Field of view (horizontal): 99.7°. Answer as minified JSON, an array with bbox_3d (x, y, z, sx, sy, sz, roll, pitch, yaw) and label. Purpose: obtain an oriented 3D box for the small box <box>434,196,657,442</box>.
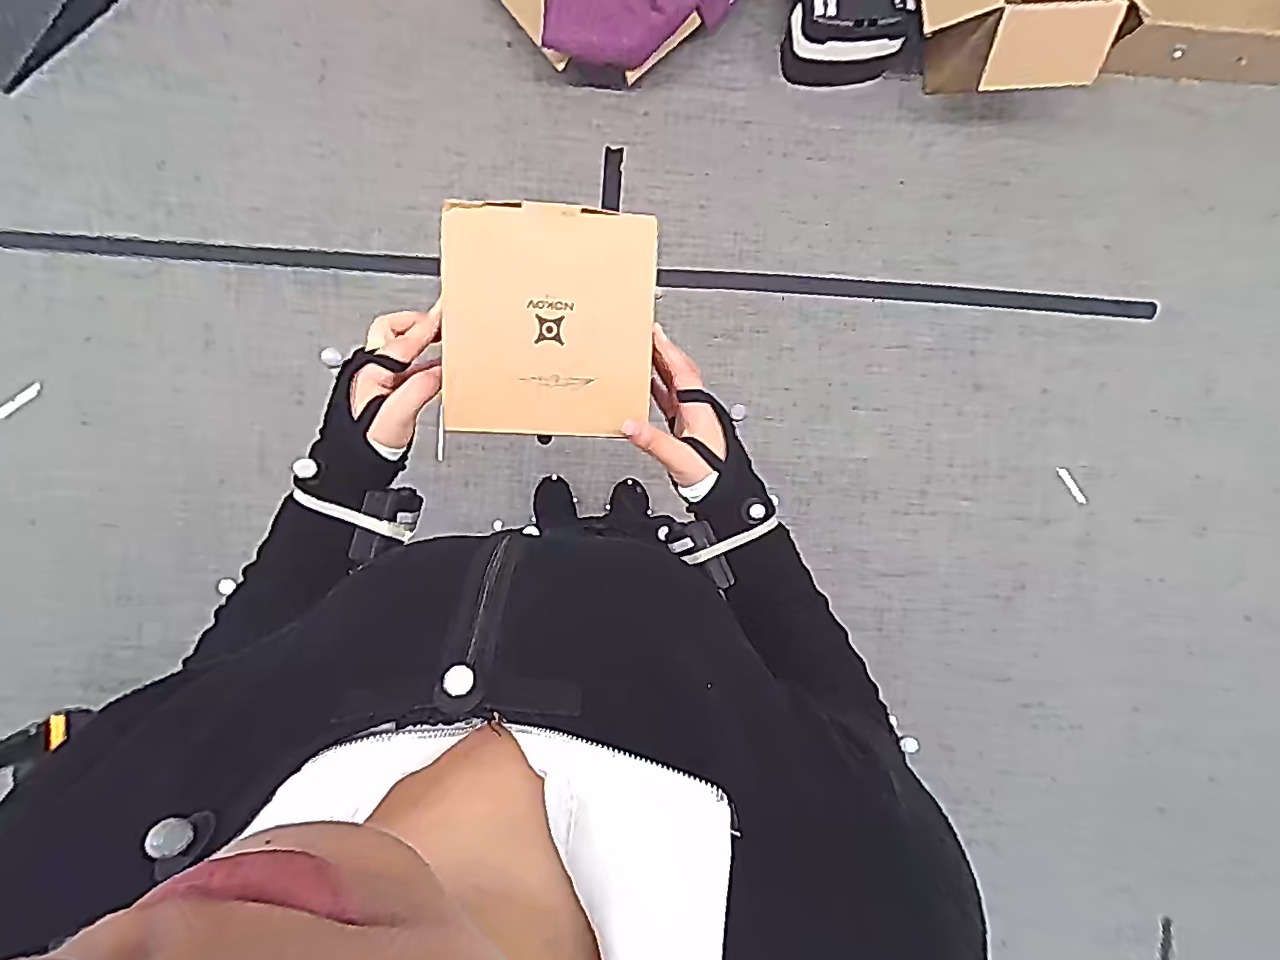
[{"bbox_3d":[-0.081,-0.130,0.496,0.168,0.176,0.179,2,97,-6],"label":"small box"}]
